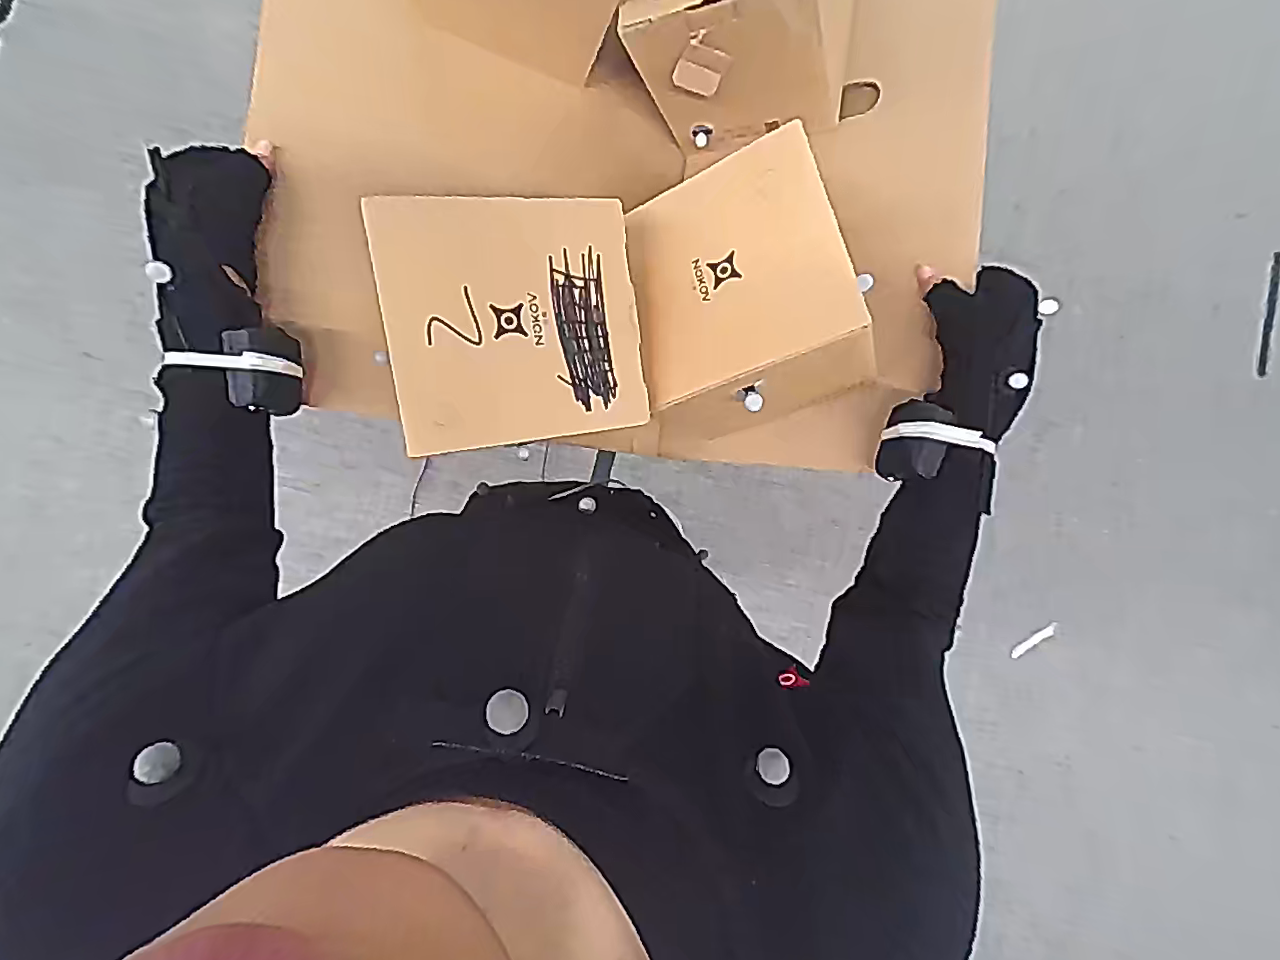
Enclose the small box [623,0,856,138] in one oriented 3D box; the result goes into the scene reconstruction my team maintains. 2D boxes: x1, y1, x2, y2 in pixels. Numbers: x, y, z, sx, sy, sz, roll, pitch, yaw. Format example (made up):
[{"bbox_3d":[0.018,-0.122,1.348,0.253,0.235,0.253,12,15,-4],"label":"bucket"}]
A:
[{"bbox_3d":[0.104,-0.453,0.503,0.168,0.176,0.179,7,87,25],"label":"small box"}]
